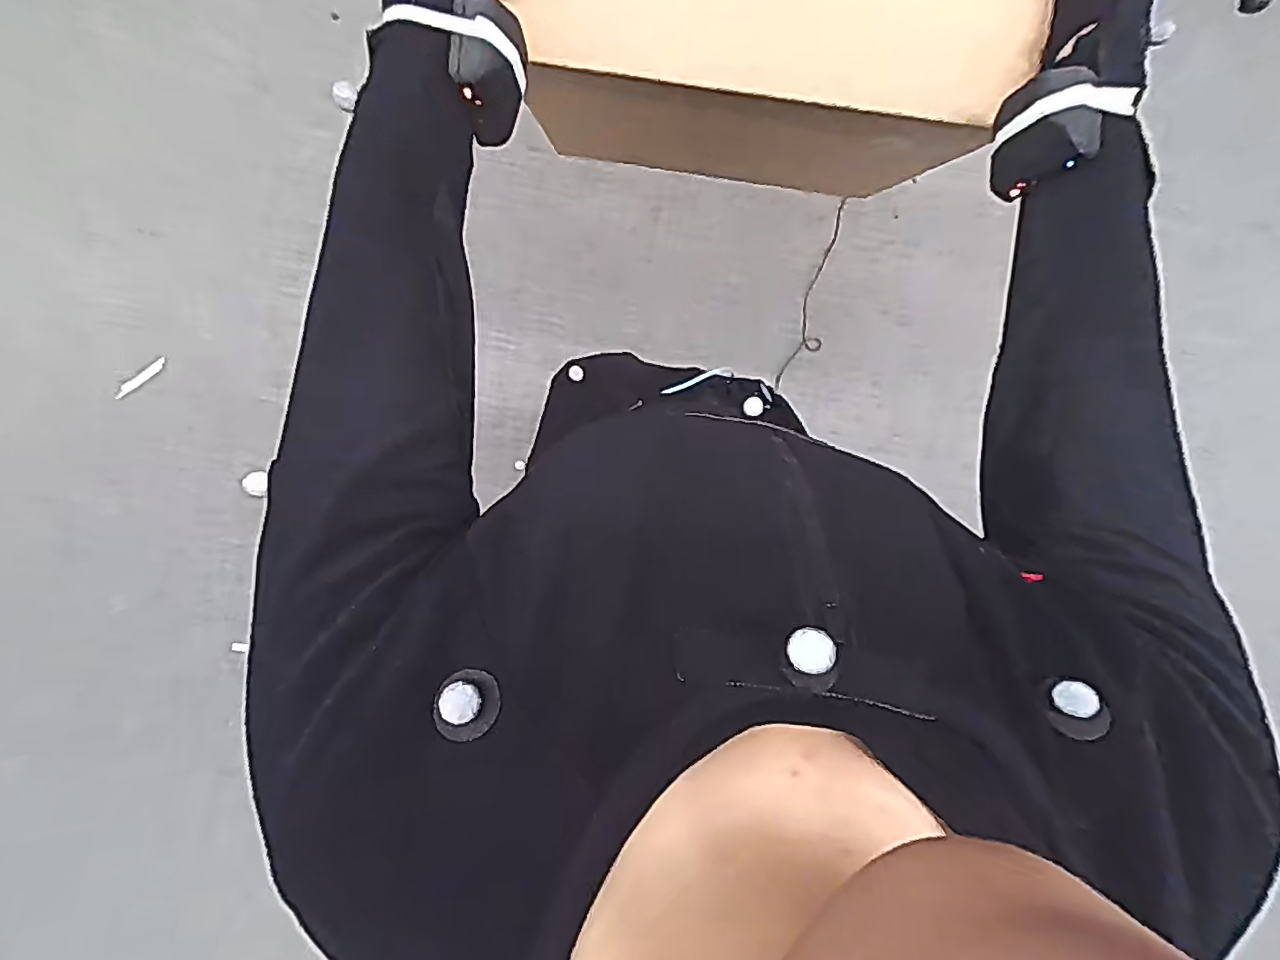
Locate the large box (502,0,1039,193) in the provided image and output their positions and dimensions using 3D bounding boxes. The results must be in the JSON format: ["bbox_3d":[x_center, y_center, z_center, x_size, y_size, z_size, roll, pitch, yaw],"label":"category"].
[{"bbox_3d":[0.105,-0.489,0.510,0.408,0.320,0.320,7,109,-2],"label":"large box"}]
